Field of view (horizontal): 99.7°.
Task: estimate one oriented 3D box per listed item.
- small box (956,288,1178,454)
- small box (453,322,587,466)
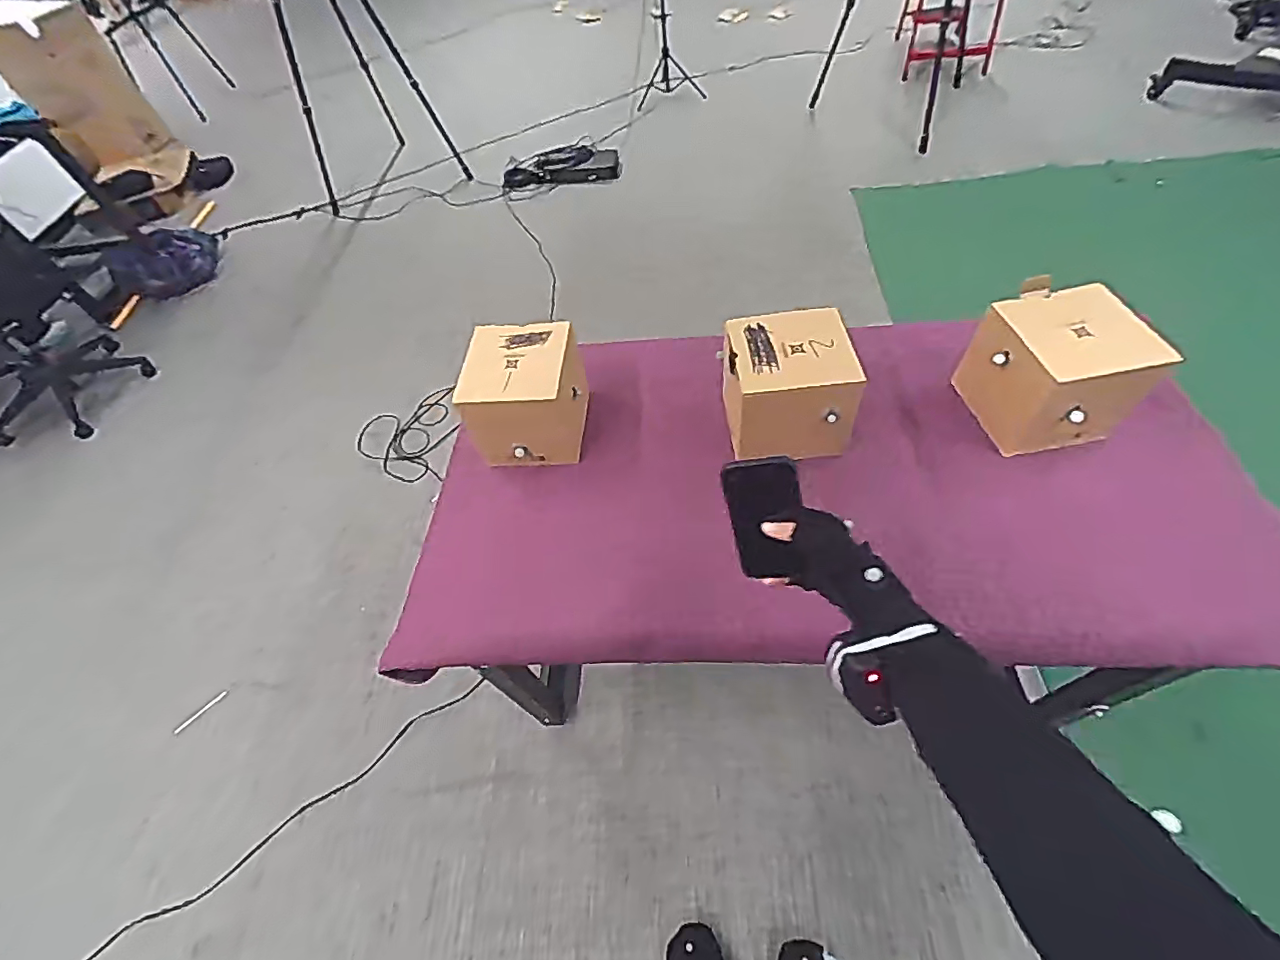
[{"bbox_3d":[0.620,-0.155,0.816,0.168,0.176,0.179,-11,53,1],"label":"small box"},{"bbox_3d":[-0.189,-0.142,0.913,0.168,0.176,0.179,-1,56,7],"label":"small box"}]
